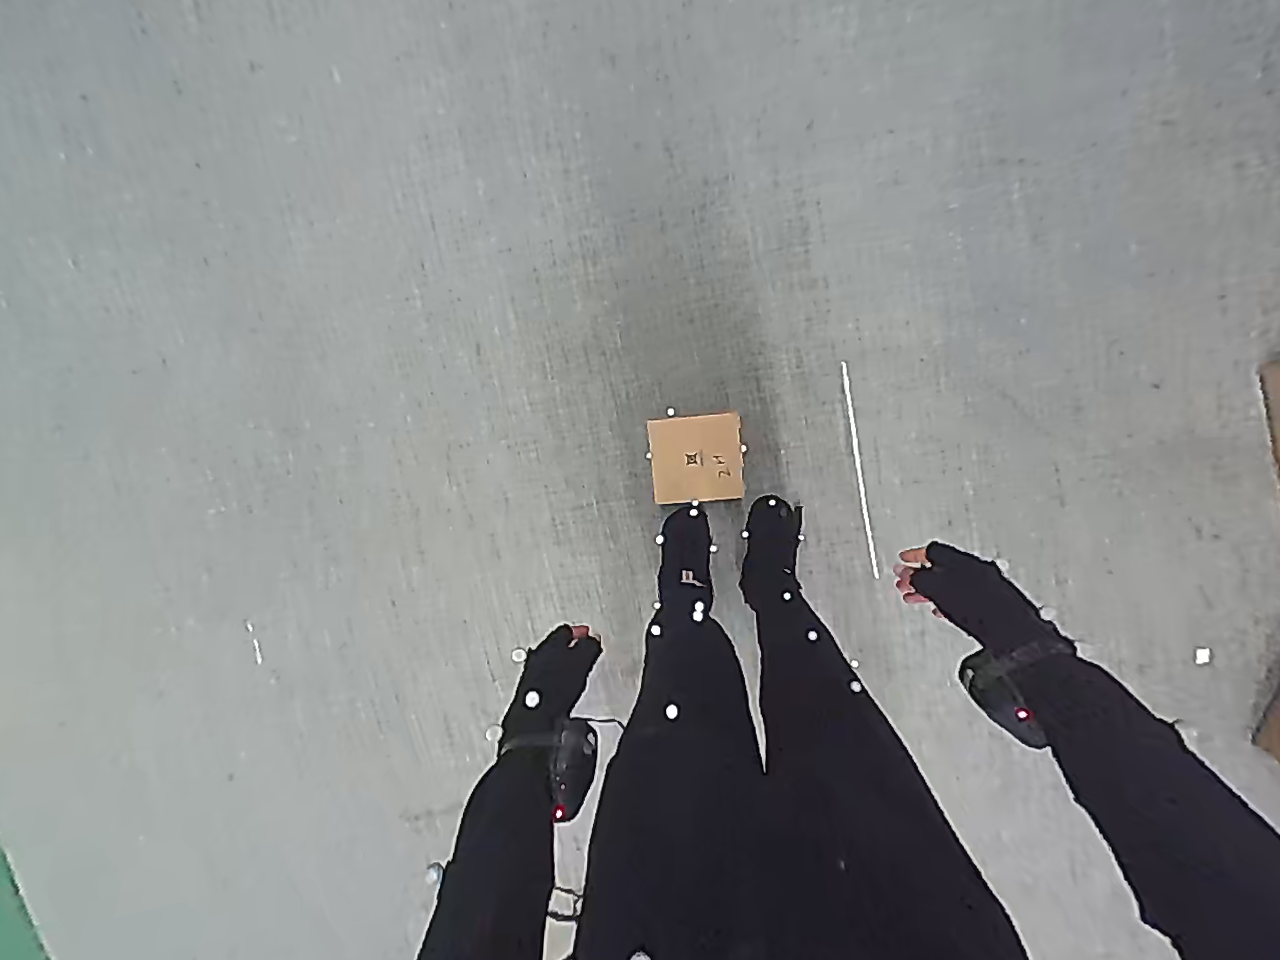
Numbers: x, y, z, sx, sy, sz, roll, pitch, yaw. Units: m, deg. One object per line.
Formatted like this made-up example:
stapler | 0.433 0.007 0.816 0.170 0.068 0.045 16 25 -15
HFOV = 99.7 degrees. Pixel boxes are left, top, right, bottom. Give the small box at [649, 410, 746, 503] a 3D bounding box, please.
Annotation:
small box | 0.119 -0.053 1.103 0.179 0.176 0.168 -4 99 7
